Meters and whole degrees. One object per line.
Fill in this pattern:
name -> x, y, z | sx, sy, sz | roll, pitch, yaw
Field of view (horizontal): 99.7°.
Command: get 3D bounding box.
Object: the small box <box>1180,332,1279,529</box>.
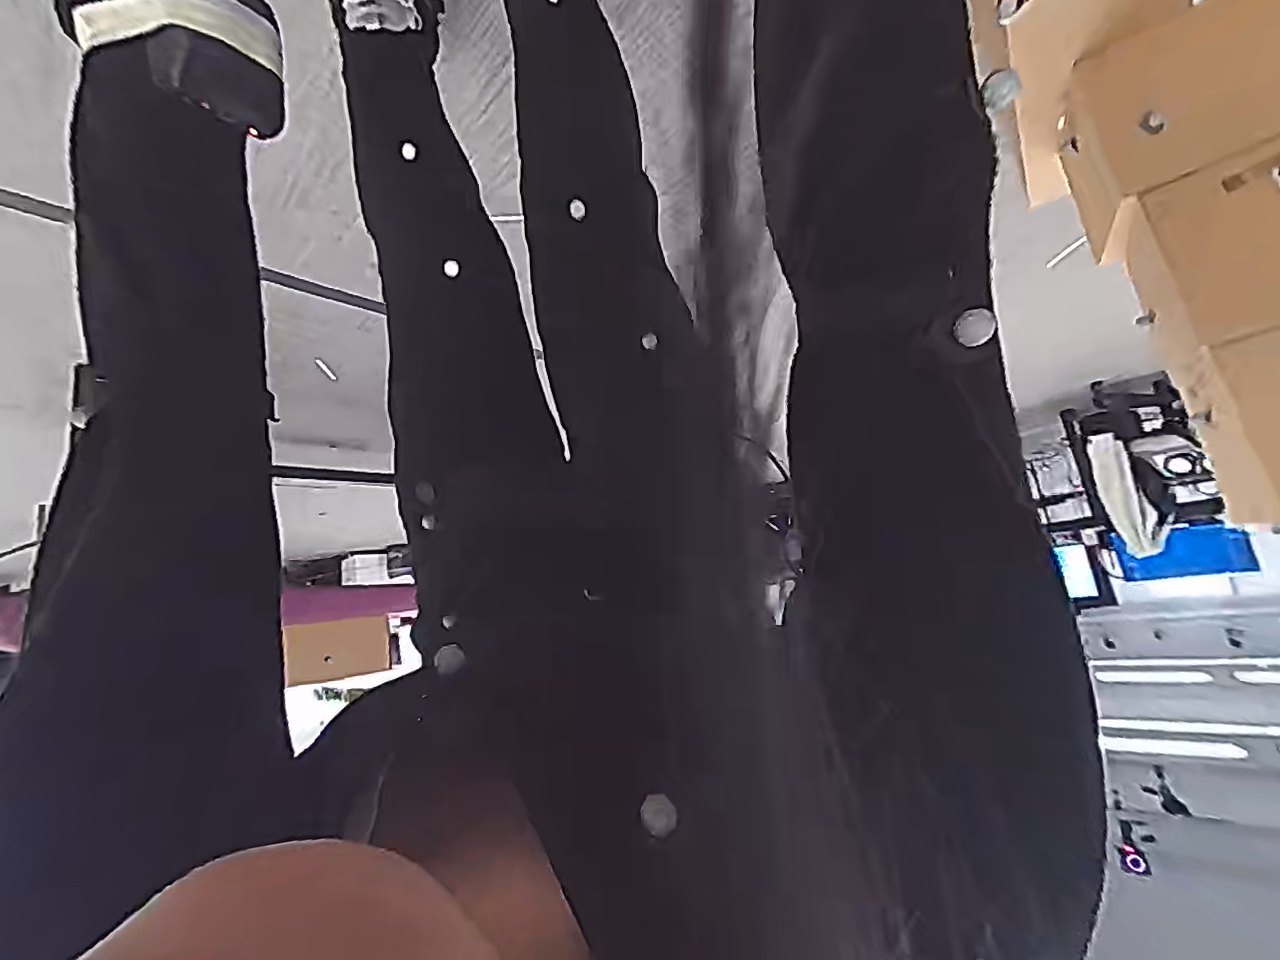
small box -> 0.647, -0.055, 0.487 | 0.179, 0.176, 0.168 | -17, 164, 35

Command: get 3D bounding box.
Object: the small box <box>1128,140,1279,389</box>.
small box -> 0.615, -0.211, 0.531 | 0.168, 0.176, 0.179 | -19, 163, 37
